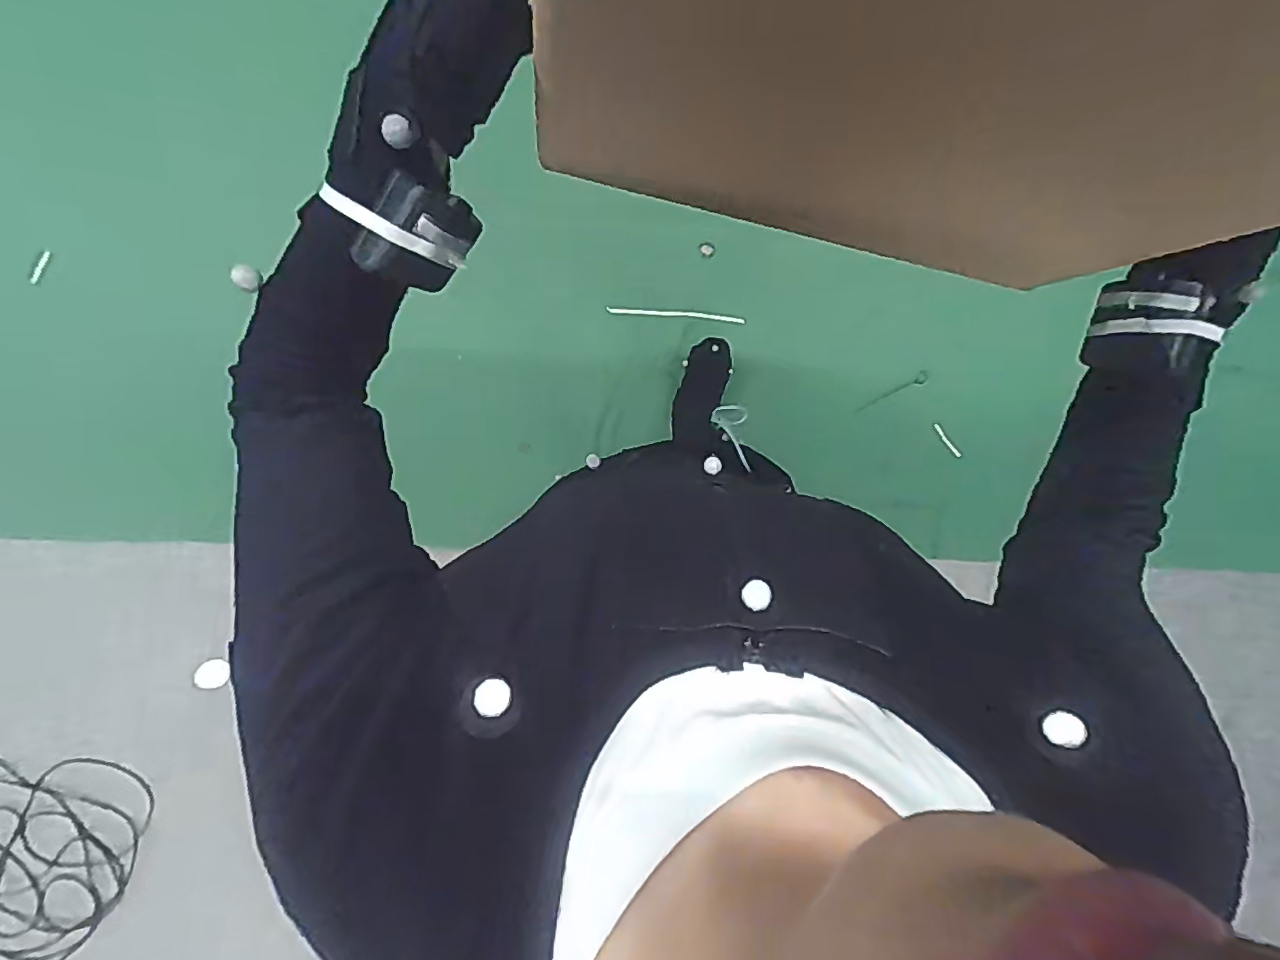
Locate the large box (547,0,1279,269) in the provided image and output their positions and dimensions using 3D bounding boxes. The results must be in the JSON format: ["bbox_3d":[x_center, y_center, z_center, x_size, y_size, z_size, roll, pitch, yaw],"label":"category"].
[{"bbox_3d":[0.177,-0.328,0.251,0.408,0.320,0.320,8,96,-12],"label":"large box"}]
